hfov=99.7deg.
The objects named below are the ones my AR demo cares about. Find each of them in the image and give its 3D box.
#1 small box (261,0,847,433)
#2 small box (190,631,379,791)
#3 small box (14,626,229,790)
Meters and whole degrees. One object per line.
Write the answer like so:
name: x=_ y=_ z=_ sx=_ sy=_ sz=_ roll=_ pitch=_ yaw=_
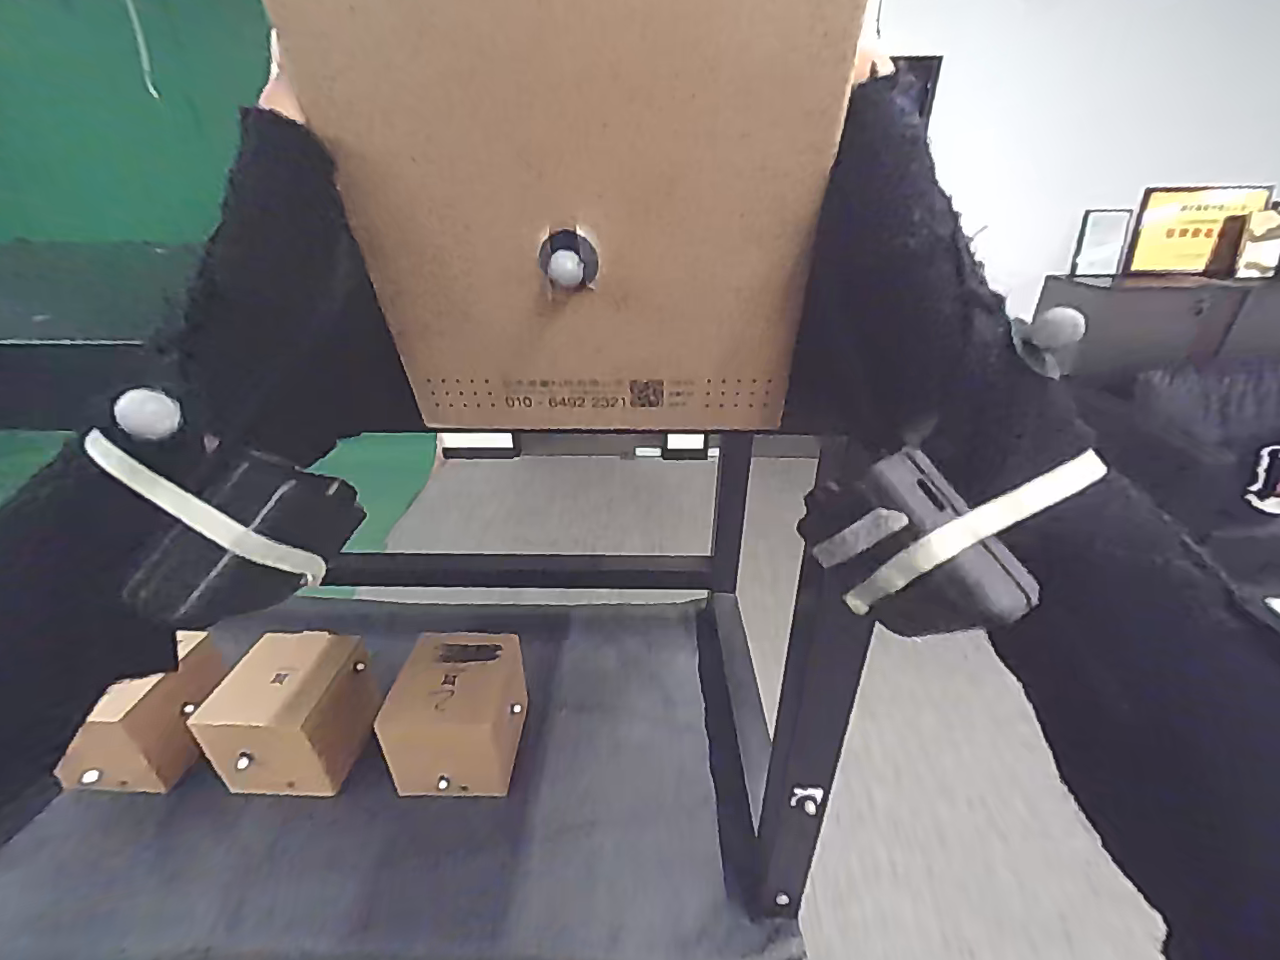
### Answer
small box: x=-0.018 y=-0.136 z=0.256 sx=0.168 sy=0.176 sz=0.179 roll=1 pitch=45 yaw=1
small box: x=-0.543 y=0.365 z=0.861 sx=0.168 sy=0.176 sz=0.179 roll=1 pitch=29 yaw=2
small box: x=-0.796 y=0.359 z=0.866 sx=0.168 sy=0.176 sz=0.179 roll=1 pitch=29 yaw=2
